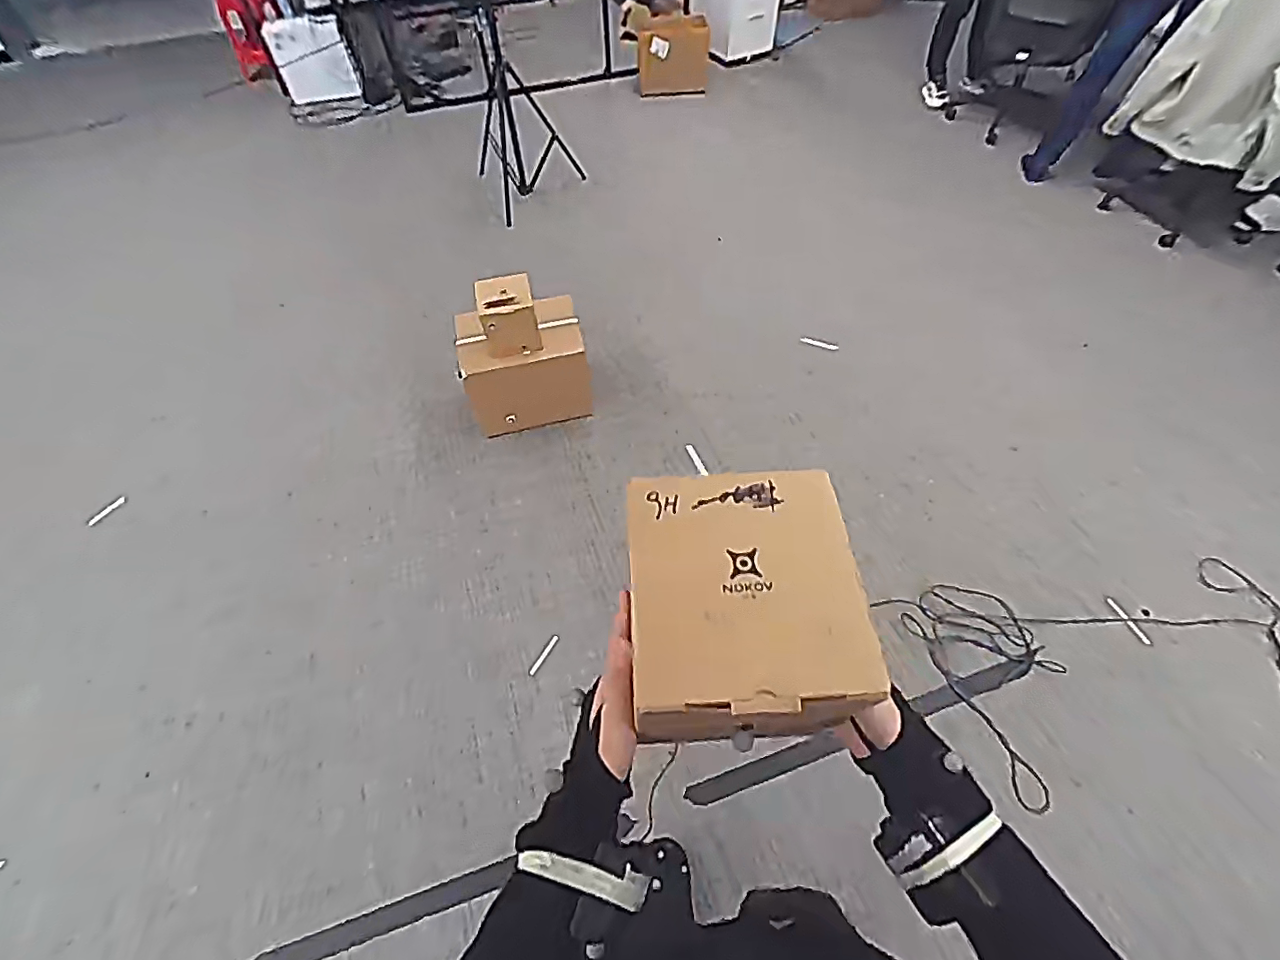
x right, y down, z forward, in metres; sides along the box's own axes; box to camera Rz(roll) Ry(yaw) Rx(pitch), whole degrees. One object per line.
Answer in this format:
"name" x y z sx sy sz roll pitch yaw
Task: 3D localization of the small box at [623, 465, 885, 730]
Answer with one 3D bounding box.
"small box" 0.071 0.106 0.453 0.168 0.176 0.179 -2 58 -3
